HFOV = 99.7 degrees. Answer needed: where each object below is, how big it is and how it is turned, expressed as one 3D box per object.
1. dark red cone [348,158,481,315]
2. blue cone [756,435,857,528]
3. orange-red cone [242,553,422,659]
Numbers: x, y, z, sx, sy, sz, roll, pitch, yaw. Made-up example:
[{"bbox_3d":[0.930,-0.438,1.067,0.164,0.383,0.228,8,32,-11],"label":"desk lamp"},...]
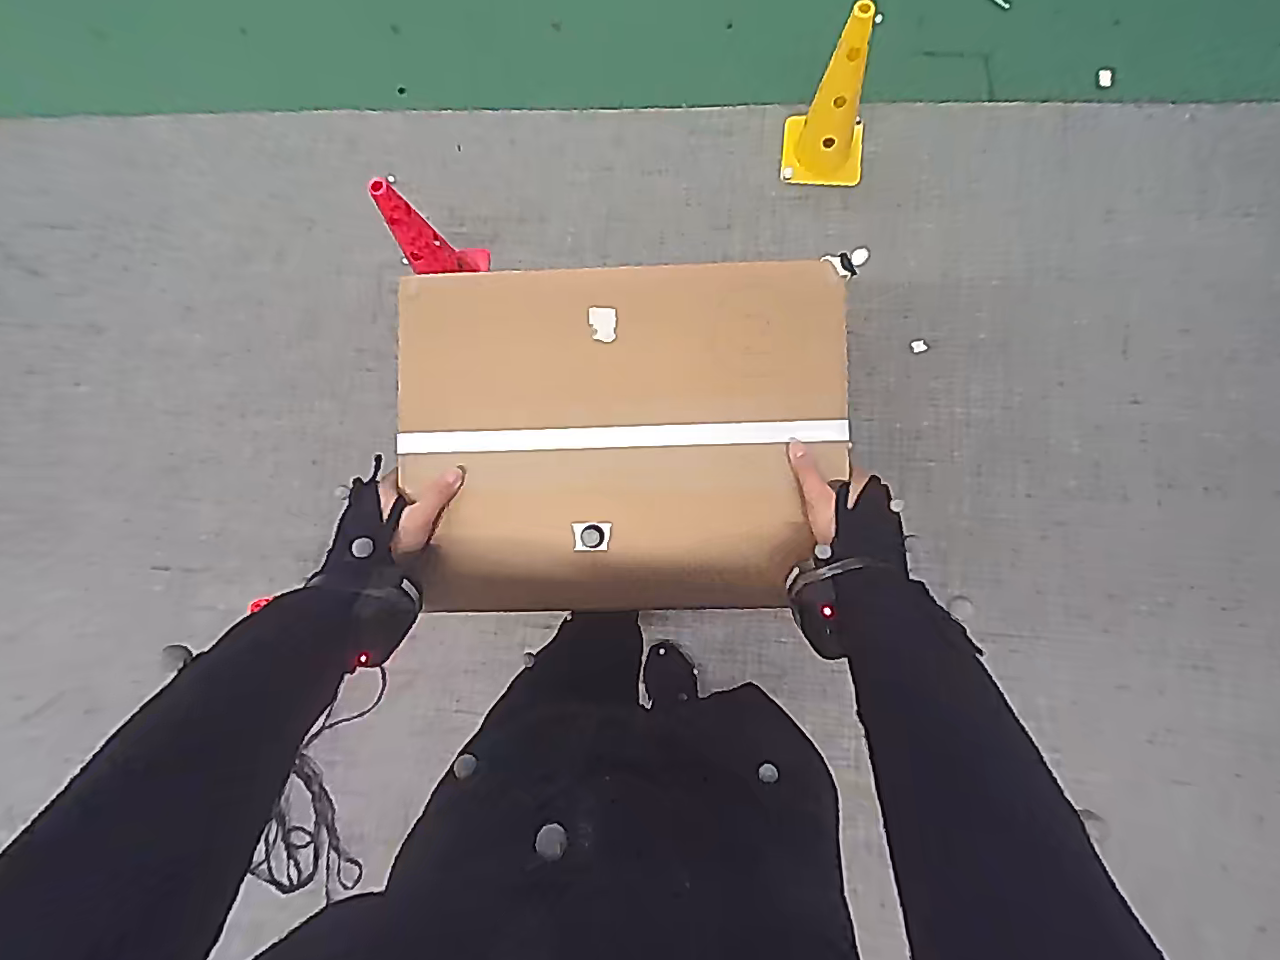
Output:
[{"bbox_3d":[-0.525,-0.562,1.236,0.202,0.394,0.201,-4,75,5],"label":"dark red cone"},{"bbox_3d":[0.345,-0.020,1.067,0.192,0.380,0.193,4,79,6],"label":"blue cone"},{"bbox_3d":[-0.646,0.253,1.095,0.199,0.360,0.198,23,80,12],"label":"orange-red cone"}]
